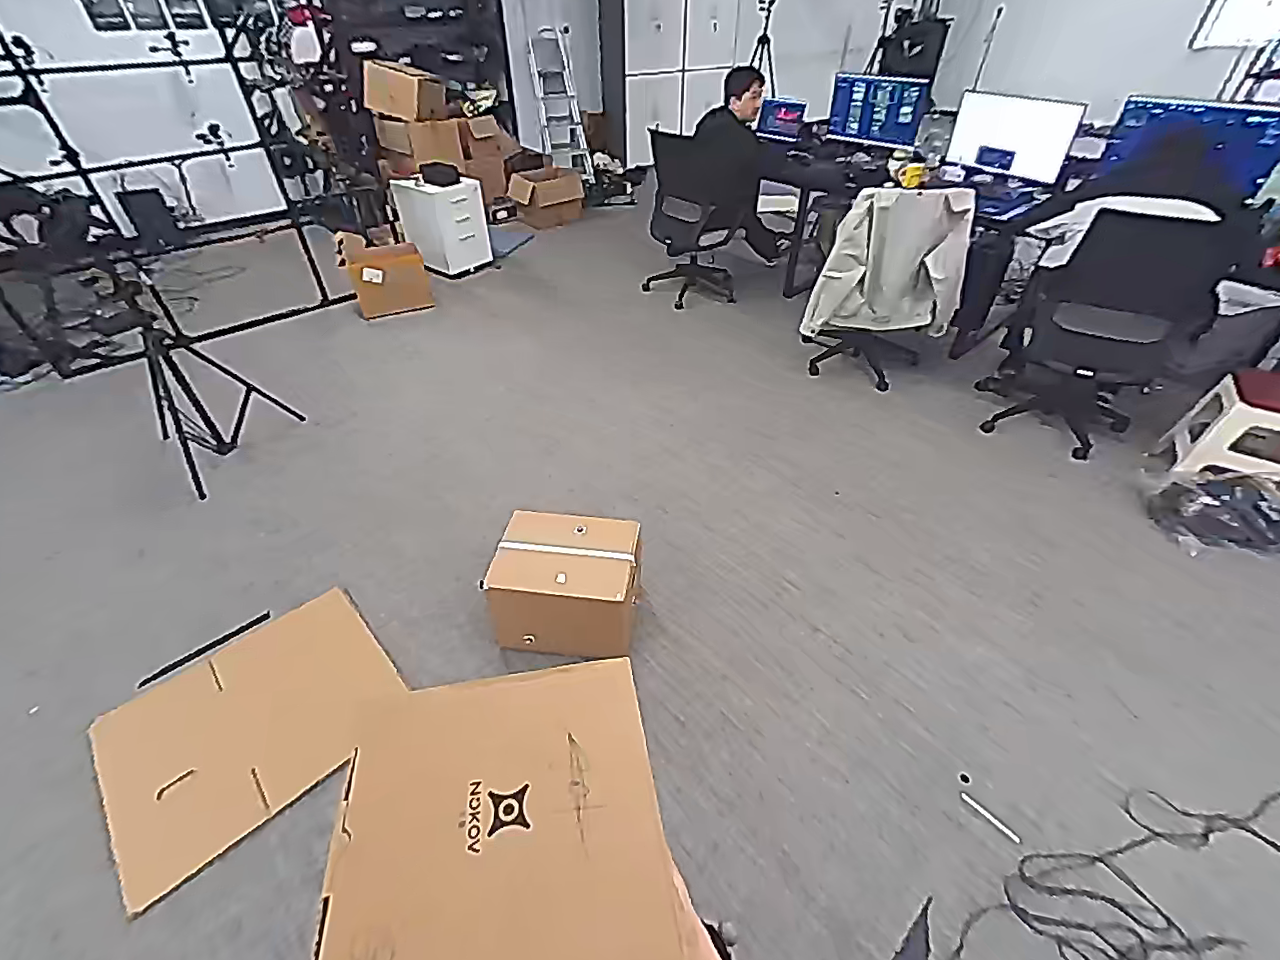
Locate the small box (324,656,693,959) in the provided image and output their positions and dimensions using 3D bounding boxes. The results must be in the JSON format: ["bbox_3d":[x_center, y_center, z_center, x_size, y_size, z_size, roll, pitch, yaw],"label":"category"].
[{"bbox_3d":[-0.075,0.244,0.355,0.179,0.176,0.168,-6,42,-10],"label":"small box"}]
